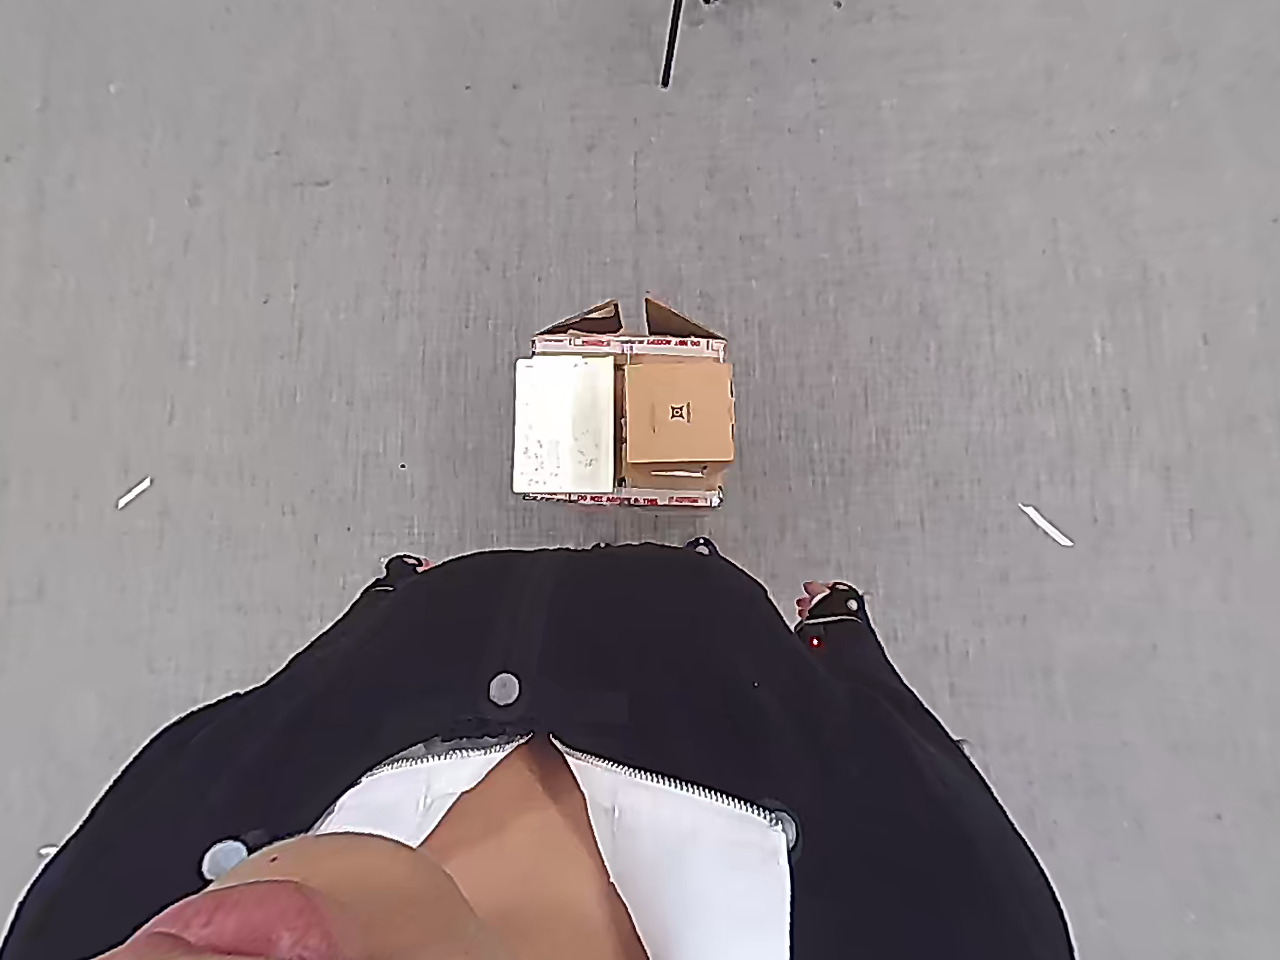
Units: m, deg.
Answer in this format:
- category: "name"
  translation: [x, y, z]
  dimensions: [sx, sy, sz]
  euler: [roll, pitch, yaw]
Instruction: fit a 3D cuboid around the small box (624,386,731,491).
- category: "small box"
  translation: [0.063, -0.068, 0.975]
  dimensions: [0.179, 0.176, 0.168]
  euler: [-2, 84, 2]
